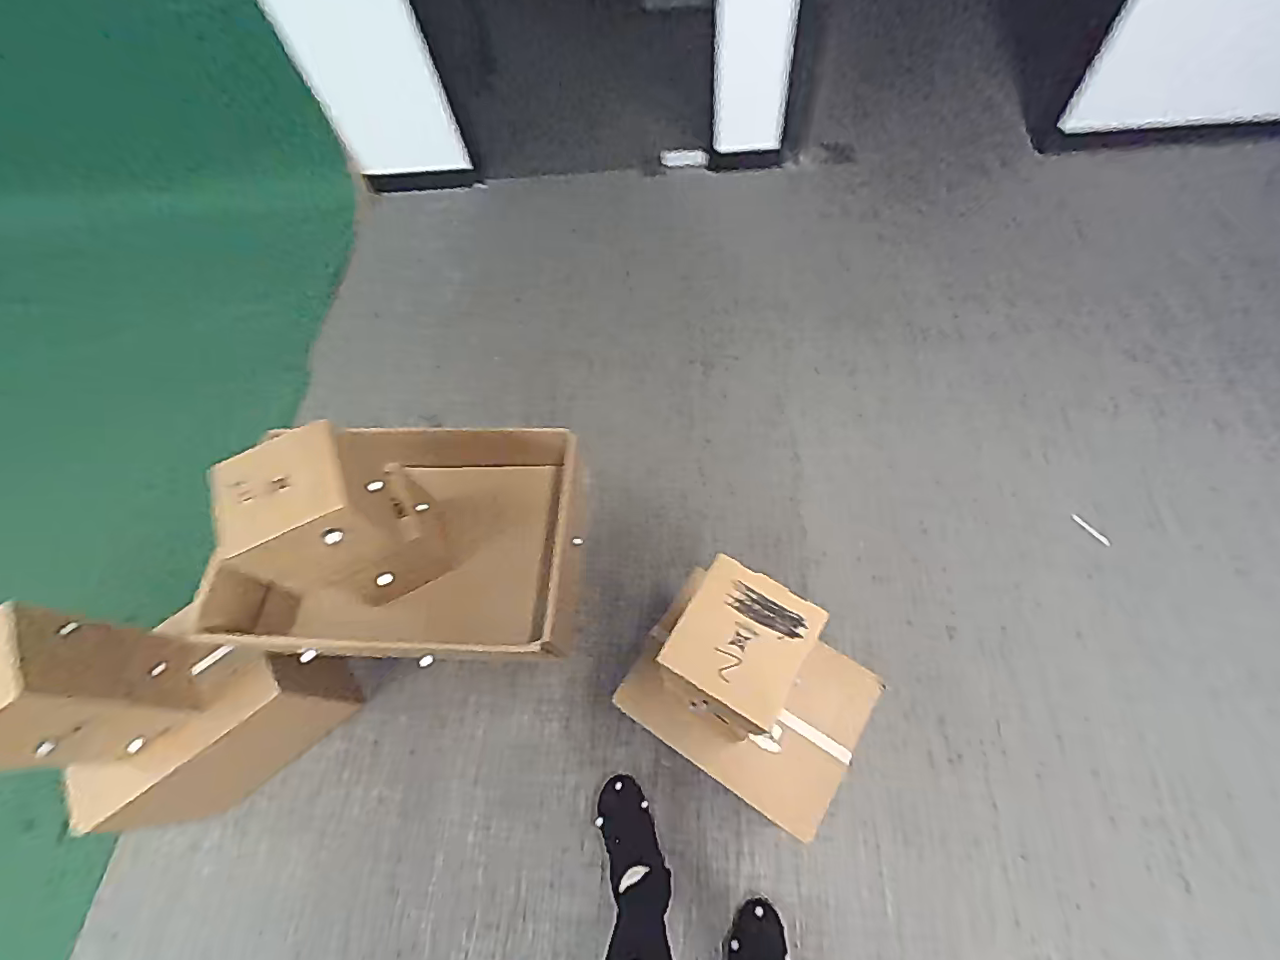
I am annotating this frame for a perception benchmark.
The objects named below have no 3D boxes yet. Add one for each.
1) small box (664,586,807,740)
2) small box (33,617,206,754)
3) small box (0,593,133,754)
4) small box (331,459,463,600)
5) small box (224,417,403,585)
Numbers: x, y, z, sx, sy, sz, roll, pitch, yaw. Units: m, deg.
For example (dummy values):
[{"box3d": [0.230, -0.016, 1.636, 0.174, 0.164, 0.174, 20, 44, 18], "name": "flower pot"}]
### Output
[{"box3d": [0.157, 0.317, 0.926, 0.168, 0.176, 0.179, 34, 71, 21], "name": "small box"}, {"box3d": [-0.967, 0.390, 1.012, 0.168, 0.176, 0.179, -32, 64, -10], "name": "small box"}, {"box3d": [-0.977, 0.317, 0.866, 0.168, 0.176, 0.179, -35, 64, -10], "name": "small box"}, {"box3d": [-0.453, 0.097, 0.987, 0.179, 0.176, 0.168, -26, 64, -6], "name": "small box"}, {"box3d": [-0.490, 0.038, 0.835, 0.179, 0.176, 0.168, -25, 62, -6], "name": "small box"}]
